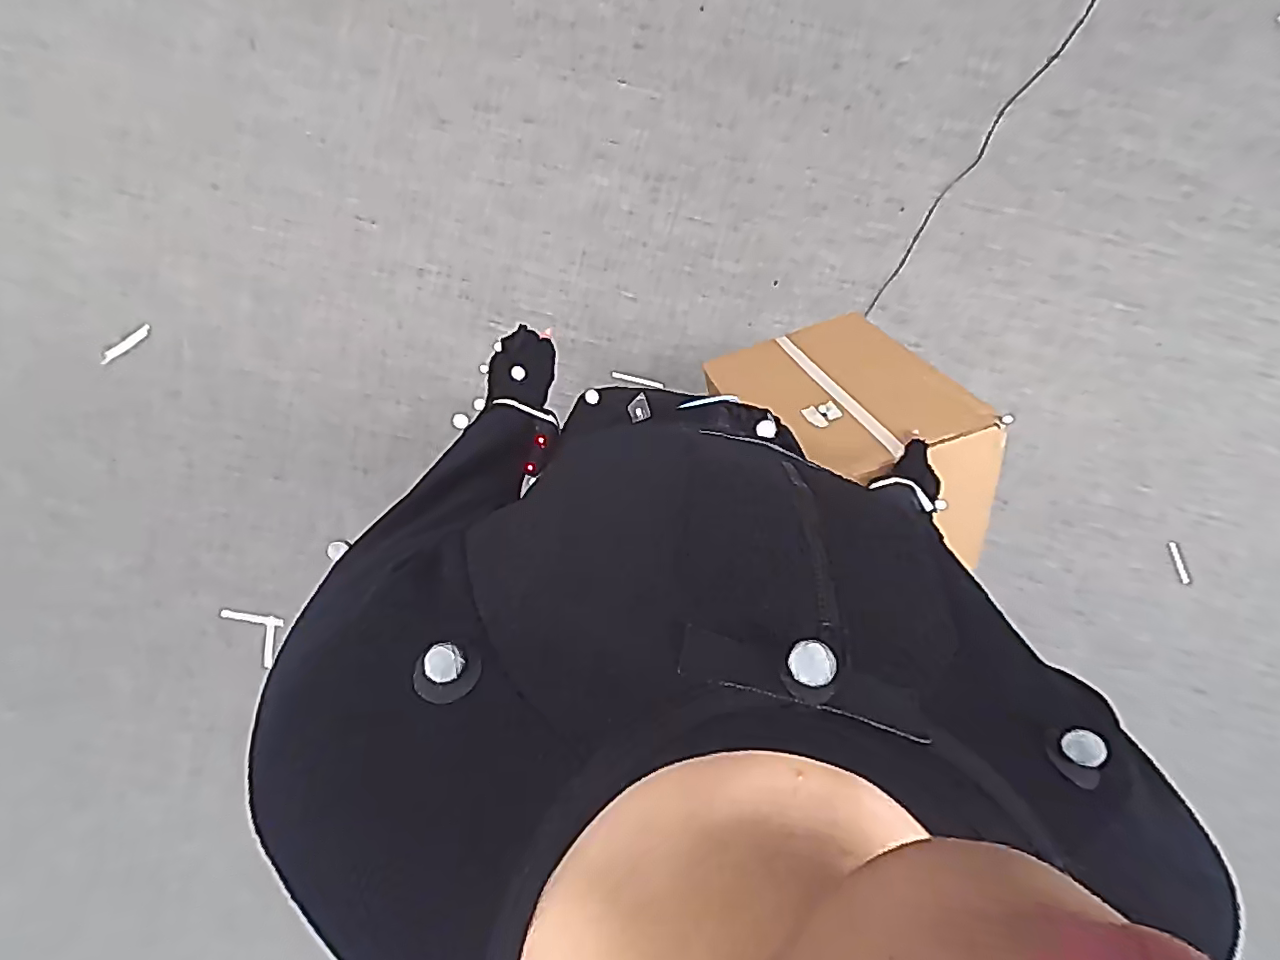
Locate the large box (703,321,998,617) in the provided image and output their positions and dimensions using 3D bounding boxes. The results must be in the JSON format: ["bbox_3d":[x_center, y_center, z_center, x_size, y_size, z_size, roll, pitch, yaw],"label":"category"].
[{"bbox_3d":[0.340,-0.033,0.986,0.320,0.408,0.320,-19,130,0],"label":"large box"}]
